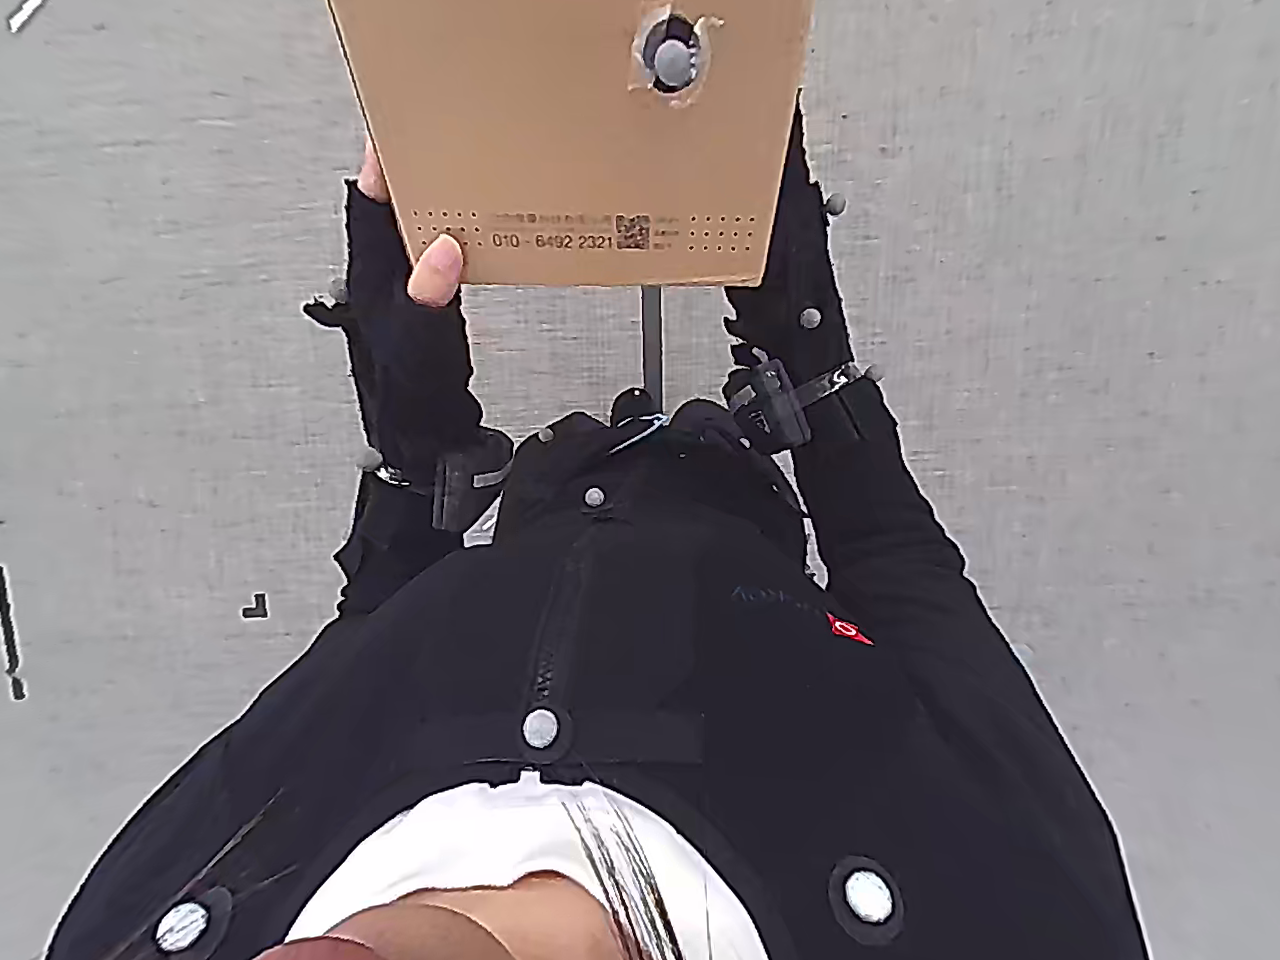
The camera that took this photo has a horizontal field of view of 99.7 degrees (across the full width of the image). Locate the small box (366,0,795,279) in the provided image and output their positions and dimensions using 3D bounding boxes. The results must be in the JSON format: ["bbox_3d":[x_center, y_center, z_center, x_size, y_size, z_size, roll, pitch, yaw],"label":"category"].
[{"bbox_3d":[-0.020,-0.218,0.273,0.168,0.179,0.176,1,137,0],"label":"small box"}]
